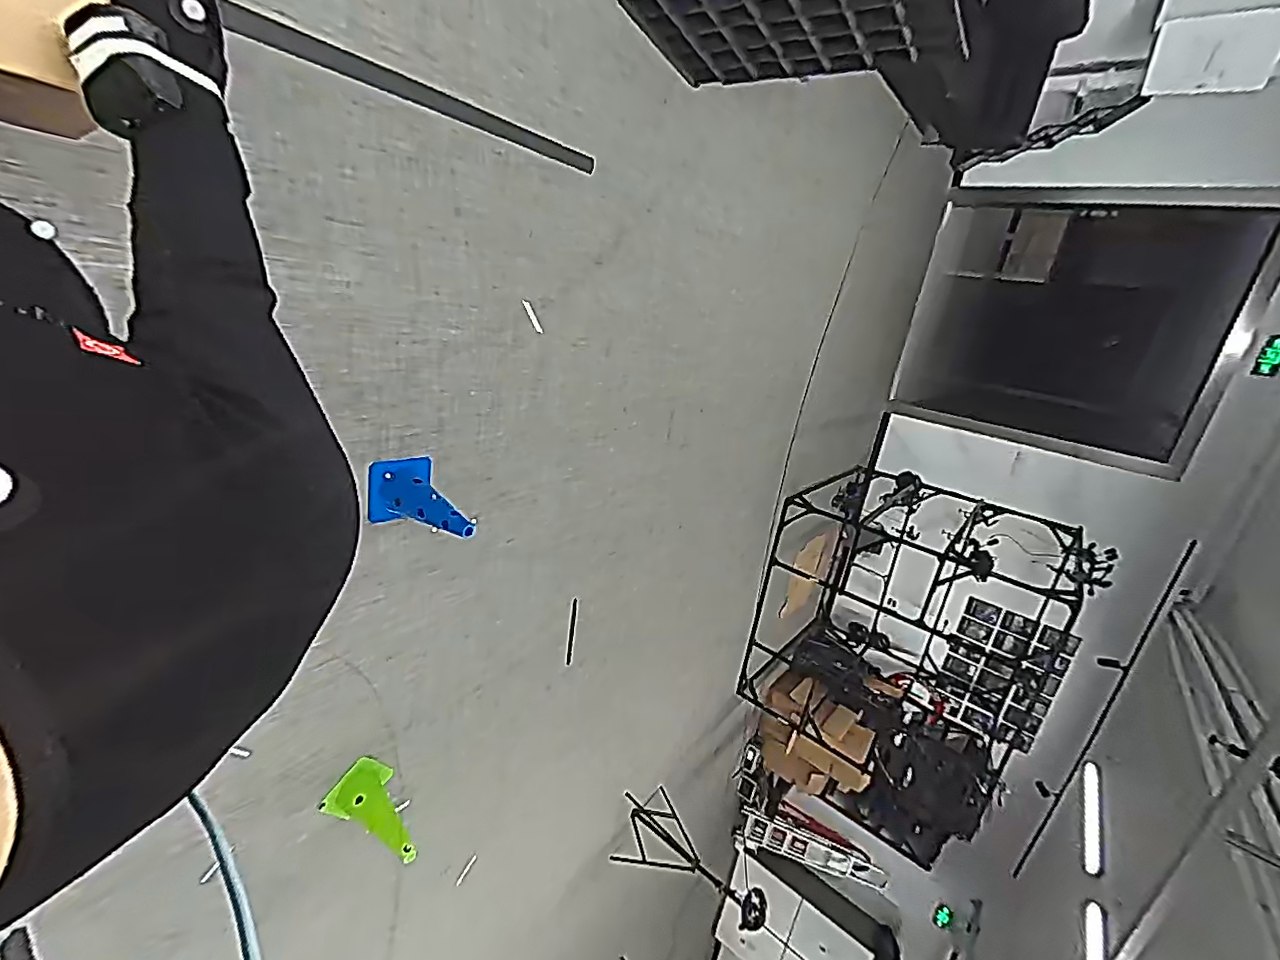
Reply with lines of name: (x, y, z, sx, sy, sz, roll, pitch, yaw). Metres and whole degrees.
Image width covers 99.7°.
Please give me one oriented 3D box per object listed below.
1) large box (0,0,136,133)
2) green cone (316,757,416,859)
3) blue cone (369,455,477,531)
large box: (-0.611, -0.453, 0.314, 0.408, 0.320, 0.320, -11, 116, -50)
green cone: (-0.879, 1.149, 1.829, 0.202, 0.368, 0.200, -51, 144, -26)
blue cone: (-0.623, 0.070, 1.602, 0.192, 0.380, 0.193, -11, 117, -53)
